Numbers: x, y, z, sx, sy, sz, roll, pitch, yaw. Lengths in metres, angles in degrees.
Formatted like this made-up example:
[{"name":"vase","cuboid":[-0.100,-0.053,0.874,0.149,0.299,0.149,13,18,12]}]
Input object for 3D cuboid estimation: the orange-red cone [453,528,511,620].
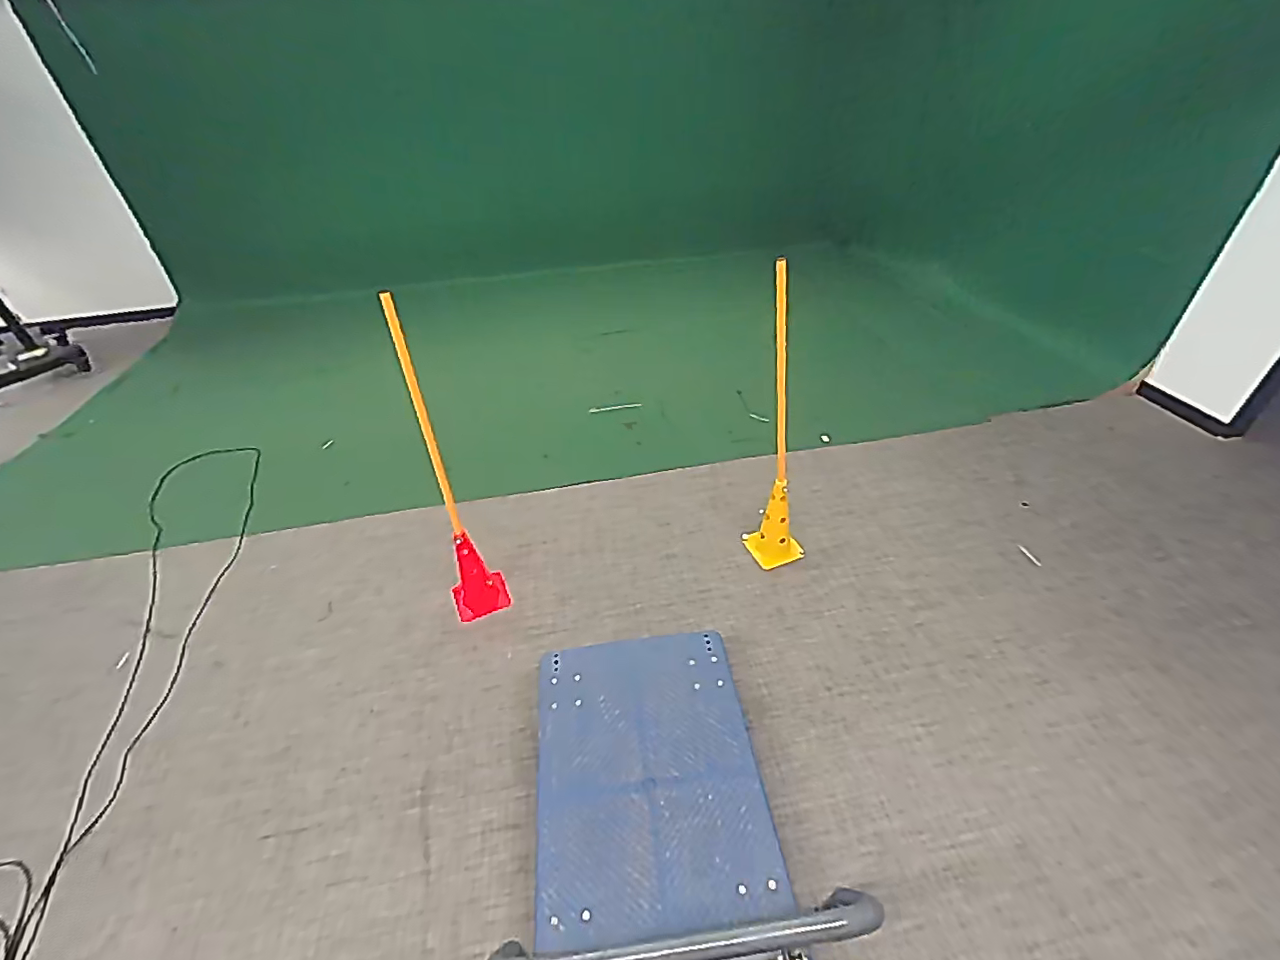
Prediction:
[{"name":"orange-red cone","cuboid":[-0.624,0.316,1.995,0.199,0.360,0.198,-19,41,-17]}]
